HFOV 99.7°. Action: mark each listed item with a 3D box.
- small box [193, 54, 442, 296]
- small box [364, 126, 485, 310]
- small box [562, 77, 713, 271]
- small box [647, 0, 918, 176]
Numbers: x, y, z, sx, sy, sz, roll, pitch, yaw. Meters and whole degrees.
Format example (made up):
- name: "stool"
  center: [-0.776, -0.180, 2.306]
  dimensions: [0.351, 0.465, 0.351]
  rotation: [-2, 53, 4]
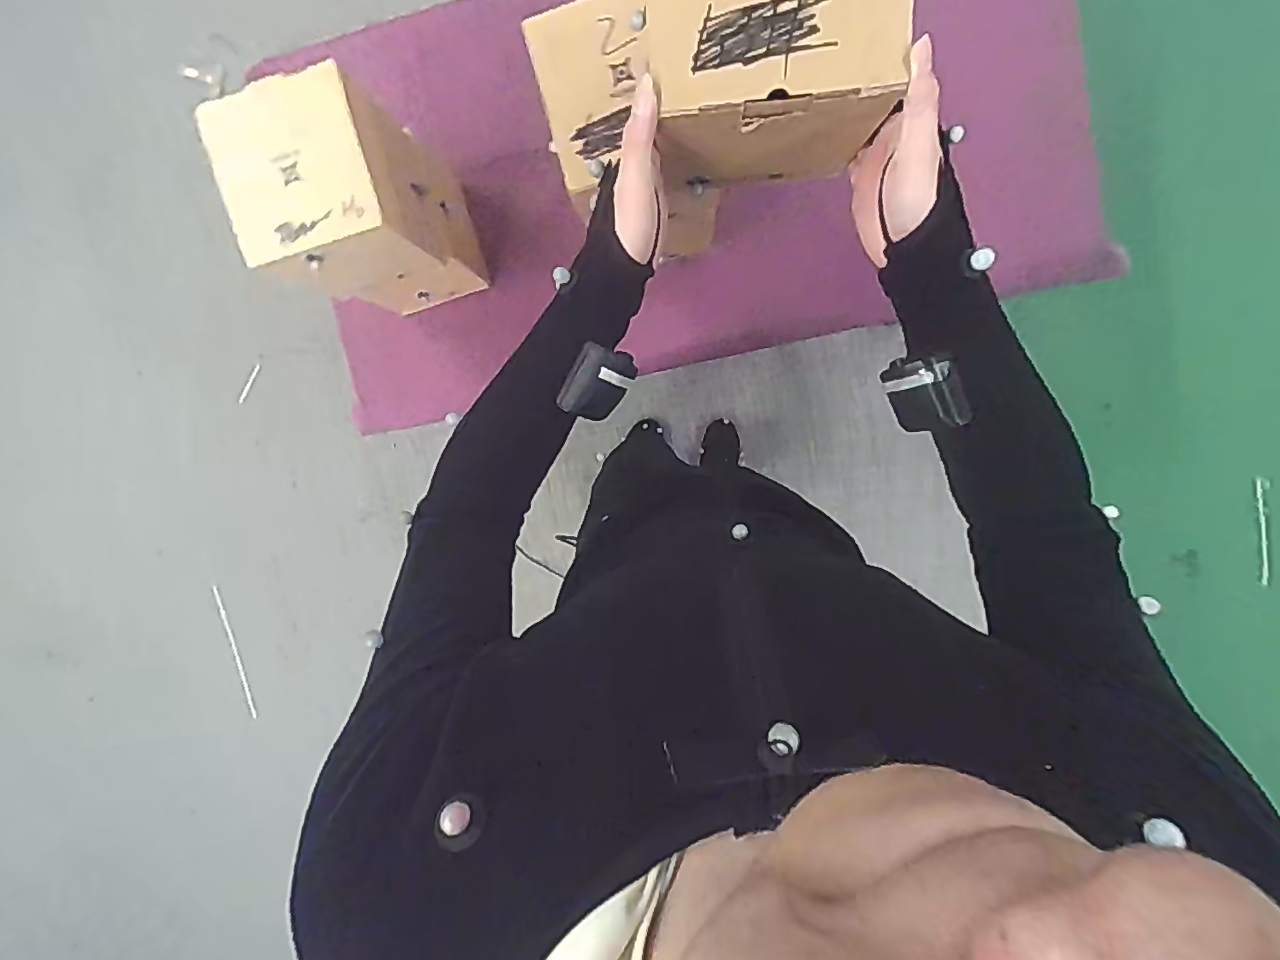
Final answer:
- name: "small box"
  center: [-0.367, -0.344, 0.648]
  dimensions: [0.168, 0.176, 0.179]
  rotation: [-14, 95, 7]
- name: "small box"
  center: [-0.357, -0.376, 0.810]
  dimensions: [0.168, 0.176, 0.179]
  rotation: [-16, 95, 6]
- name: "small box"
  center: [0.002, -0.426, 0.772]
  dimensions: [0.168, 0.176, 0.179]
  rotation: [-13, 95, 7]
- name: "small box"
  center: [0.092, -0.345, 0.401]
  dimensions: [0.168, 0.176, 0.179]
  rotation: [-2, 101, 5]
